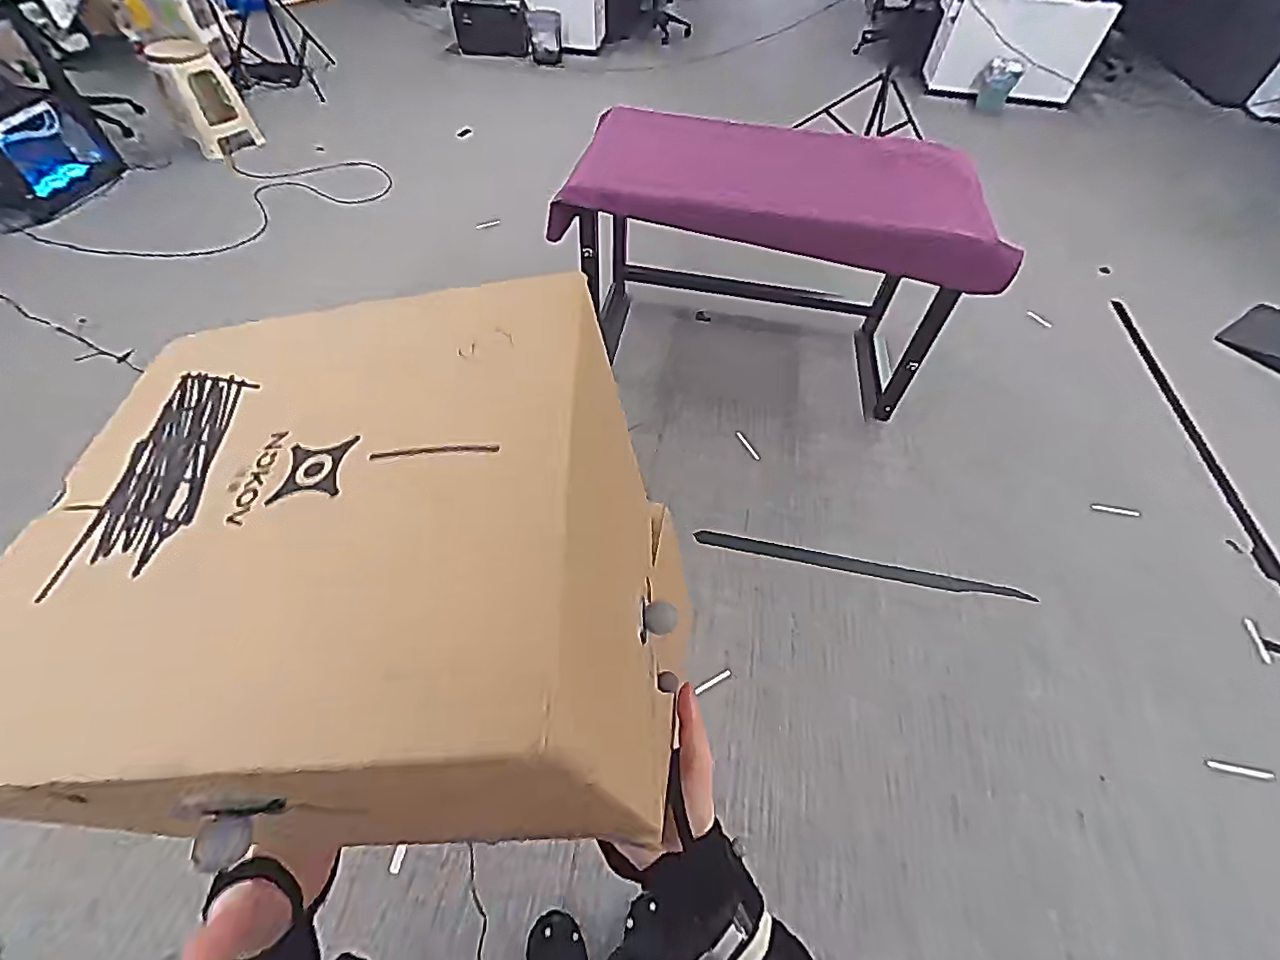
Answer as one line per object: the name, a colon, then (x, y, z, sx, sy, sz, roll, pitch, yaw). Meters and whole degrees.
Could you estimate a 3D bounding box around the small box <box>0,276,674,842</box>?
small box: (-0.085, 0.045, 0.228, 0.179, 0.176, 0.168, -7, 52, 5)

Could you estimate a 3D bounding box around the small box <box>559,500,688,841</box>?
small box: (-0.060, 0.129, 0.368, 0.168, 0.176, 0.179, 1, 52, 12)
